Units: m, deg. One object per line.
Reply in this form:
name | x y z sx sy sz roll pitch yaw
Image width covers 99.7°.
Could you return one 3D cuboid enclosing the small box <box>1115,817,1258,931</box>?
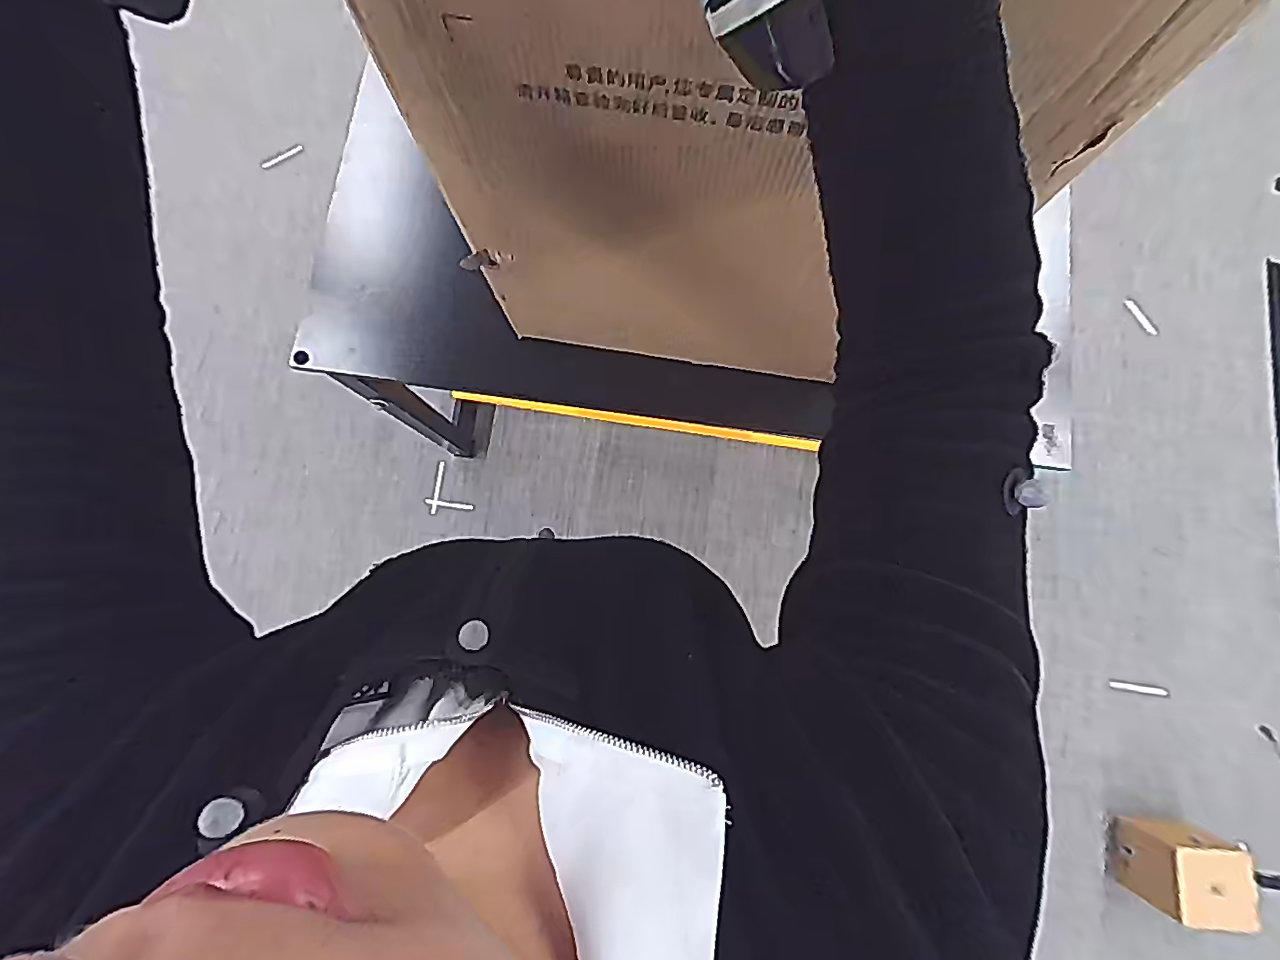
small box | 1.316 0.947 1.314 0.179 0.176 0.168 3 80 2
